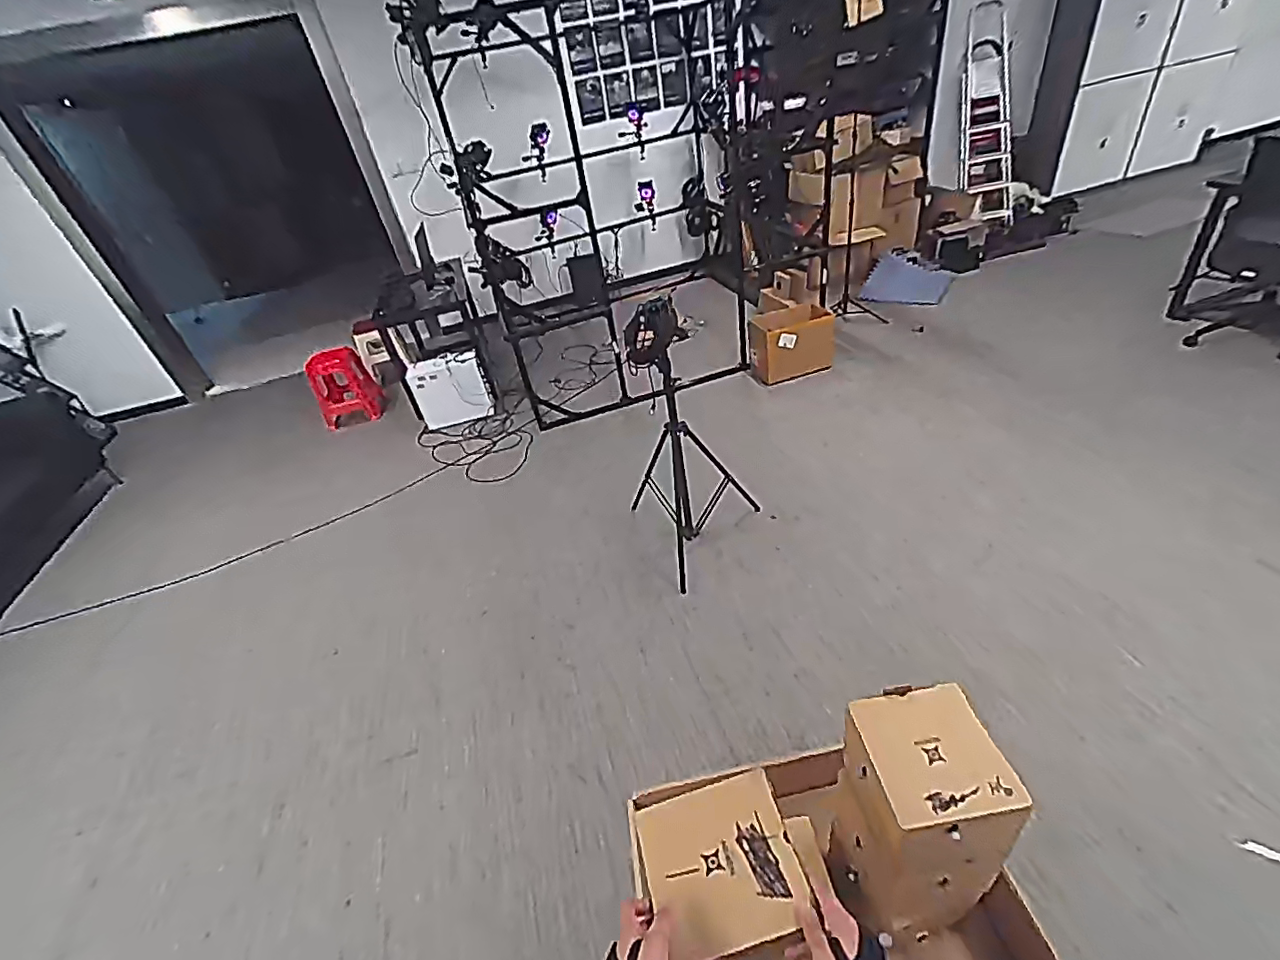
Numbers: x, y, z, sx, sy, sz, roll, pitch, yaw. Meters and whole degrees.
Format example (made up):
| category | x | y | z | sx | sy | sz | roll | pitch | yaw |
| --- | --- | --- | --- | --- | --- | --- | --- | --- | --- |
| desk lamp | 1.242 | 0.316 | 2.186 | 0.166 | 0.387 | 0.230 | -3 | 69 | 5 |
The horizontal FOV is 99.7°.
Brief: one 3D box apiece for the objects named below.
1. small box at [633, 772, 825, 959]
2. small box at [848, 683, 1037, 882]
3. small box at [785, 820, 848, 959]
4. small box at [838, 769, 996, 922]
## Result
| category | x | y | z | sx | sy | sz | roll | pitch | yaw |
| --- | --- | --- | --- | --- | --- | --- | --- | --- | --- |
| small box | 0.107 | 0.498 | 0.659 | 0.179 | 0.176 | 0.168 | -19 | 36 | -3 |
| small box | 0.403 | 0.422 | 0.760 | 0.168 | 0.176 | 0.179 | -12 | 35 | 3 |
| small box | 0.242 | 0.733 | 0.948 | 0.179 | 0.176 | 0.168 | -11 | 35 | 0 |
| small box | 0.432 | 0.555 | 0.851 | 0.179 | 0.176 | 0.168 | -15 | 36 | -3 |
